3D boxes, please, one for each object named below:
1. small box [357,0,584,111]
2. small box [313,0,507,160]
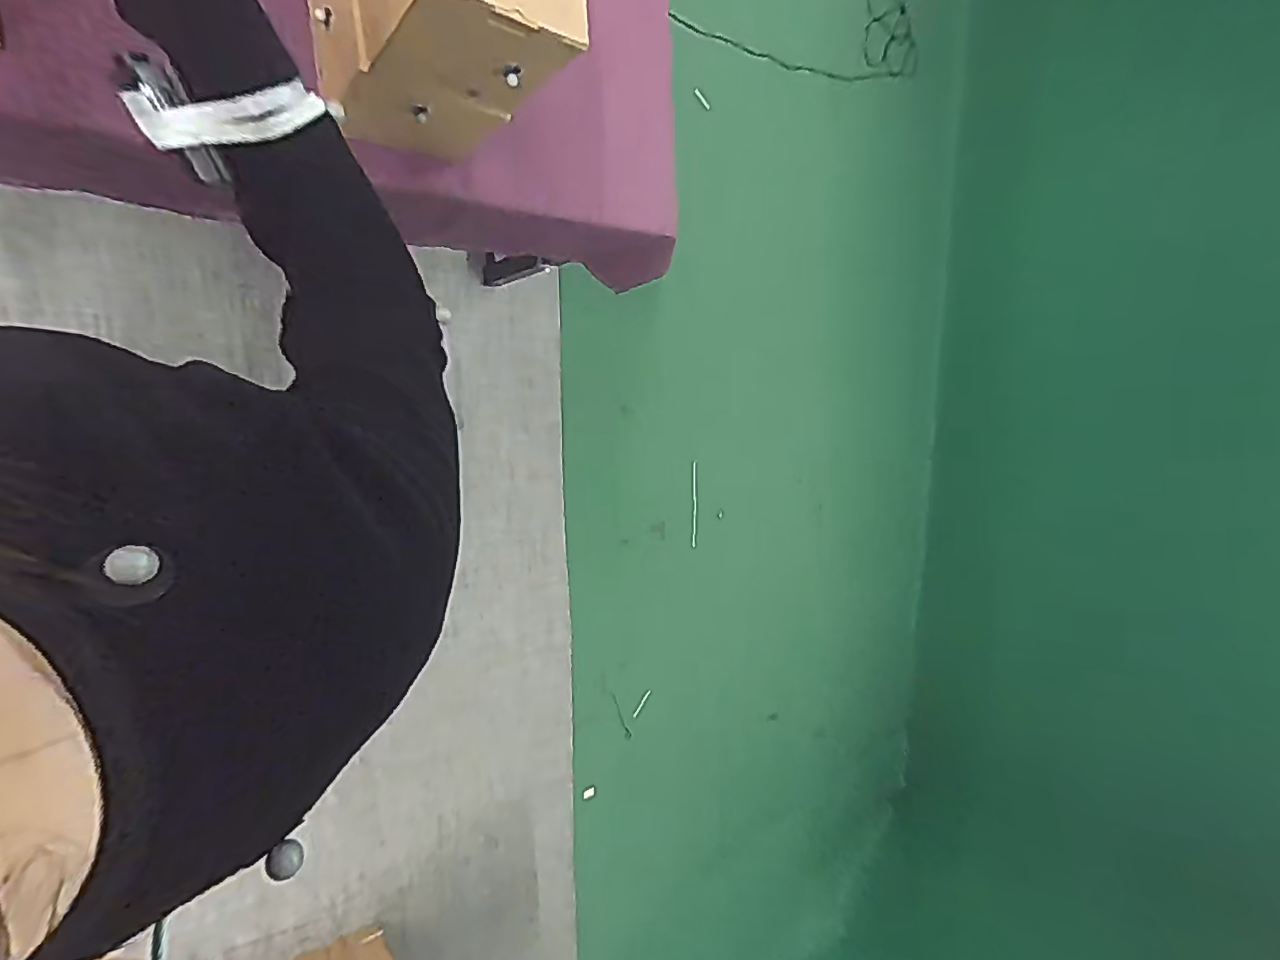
[{"bbox_3d":[-0.175,-0.511,0.540,0.168,0.176,0.179,-12,103,-42],"label":"small box"},{"bbox_3d":[-0.284,-0.520,0.661,0.179,0.176,0.168,-10,103,-41],"label":"small box"}]
